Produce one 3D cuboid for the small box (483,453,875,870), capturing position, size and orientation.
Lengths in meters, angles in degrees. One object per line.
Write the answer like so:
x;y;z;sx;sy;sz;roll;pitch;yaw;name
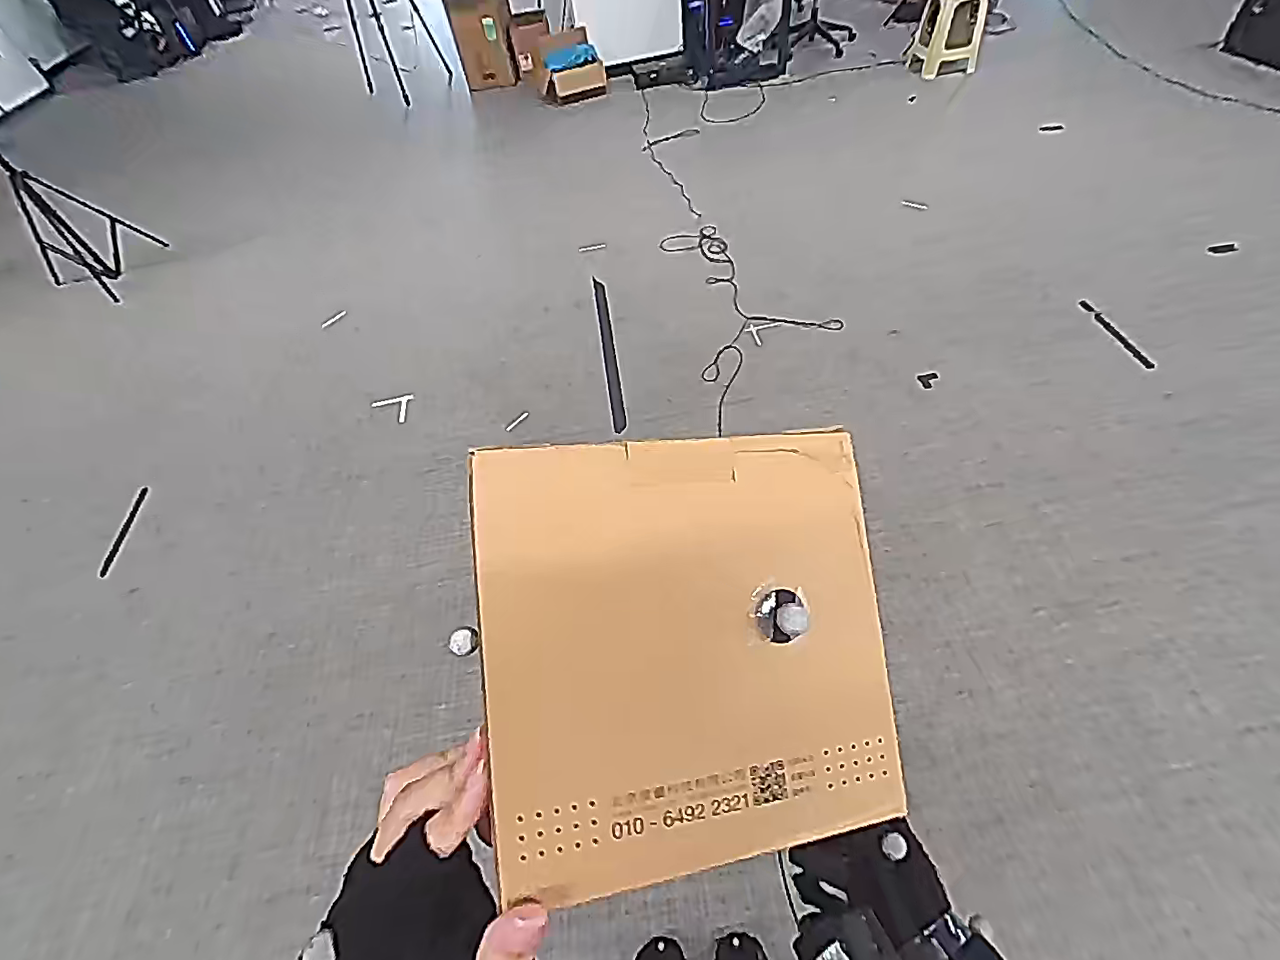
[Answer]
0.006;0.087;0.309;0.168;0.179;0.176;-4;83;-14;small box
